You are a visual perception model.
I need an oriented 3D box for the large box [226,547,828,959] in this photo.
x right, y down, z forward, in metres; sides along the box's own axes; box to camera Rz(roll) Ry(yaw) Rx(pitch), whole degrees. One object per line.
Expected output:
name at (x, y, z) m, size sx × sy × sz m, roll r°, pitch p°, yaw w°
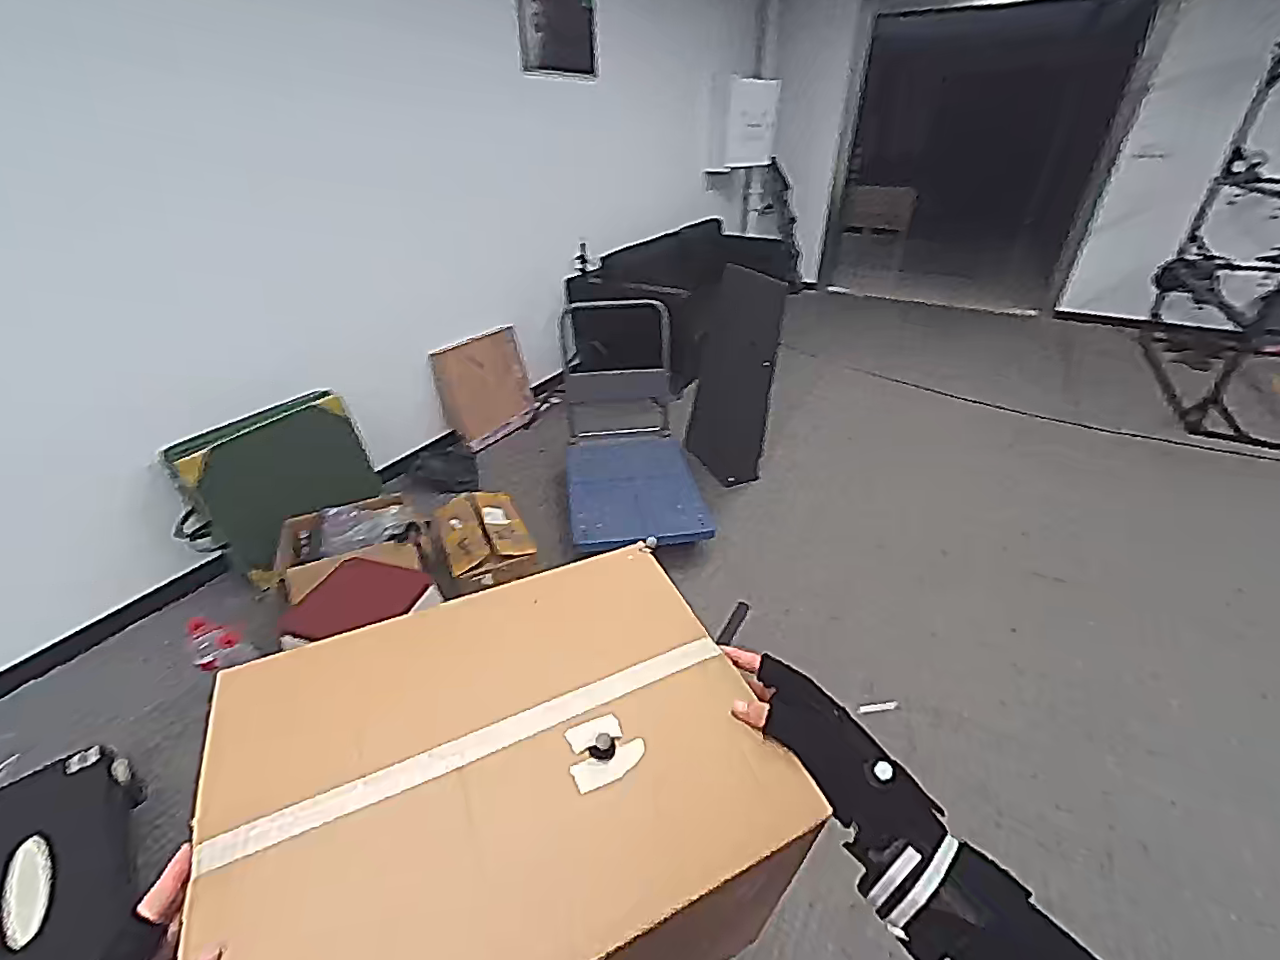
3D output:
large box at (-0.105, 0.323, 0.528) m, size 0.408 × 0.320 × 0.320 m, roll -13°, pitch 40°, yaw -22°
